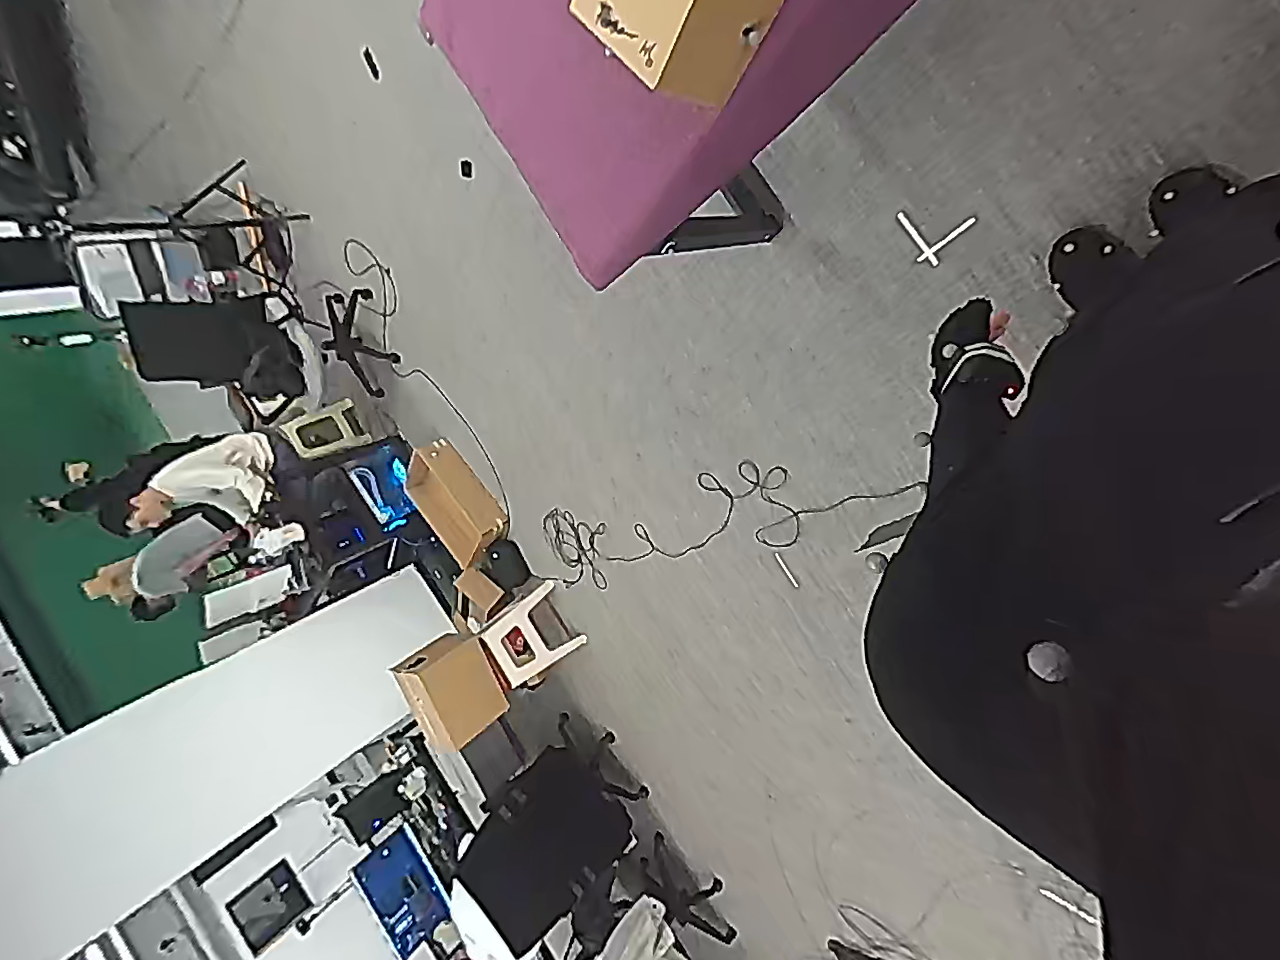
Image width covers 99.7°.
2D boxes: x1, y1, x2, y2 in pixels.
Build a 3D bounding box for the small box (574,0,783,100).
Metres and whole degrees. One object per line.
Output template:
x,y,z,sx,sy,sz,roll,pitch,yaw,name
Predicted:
0.058,-0.601,0.645,0.168,0.176,0.179,50,134,11,small box
